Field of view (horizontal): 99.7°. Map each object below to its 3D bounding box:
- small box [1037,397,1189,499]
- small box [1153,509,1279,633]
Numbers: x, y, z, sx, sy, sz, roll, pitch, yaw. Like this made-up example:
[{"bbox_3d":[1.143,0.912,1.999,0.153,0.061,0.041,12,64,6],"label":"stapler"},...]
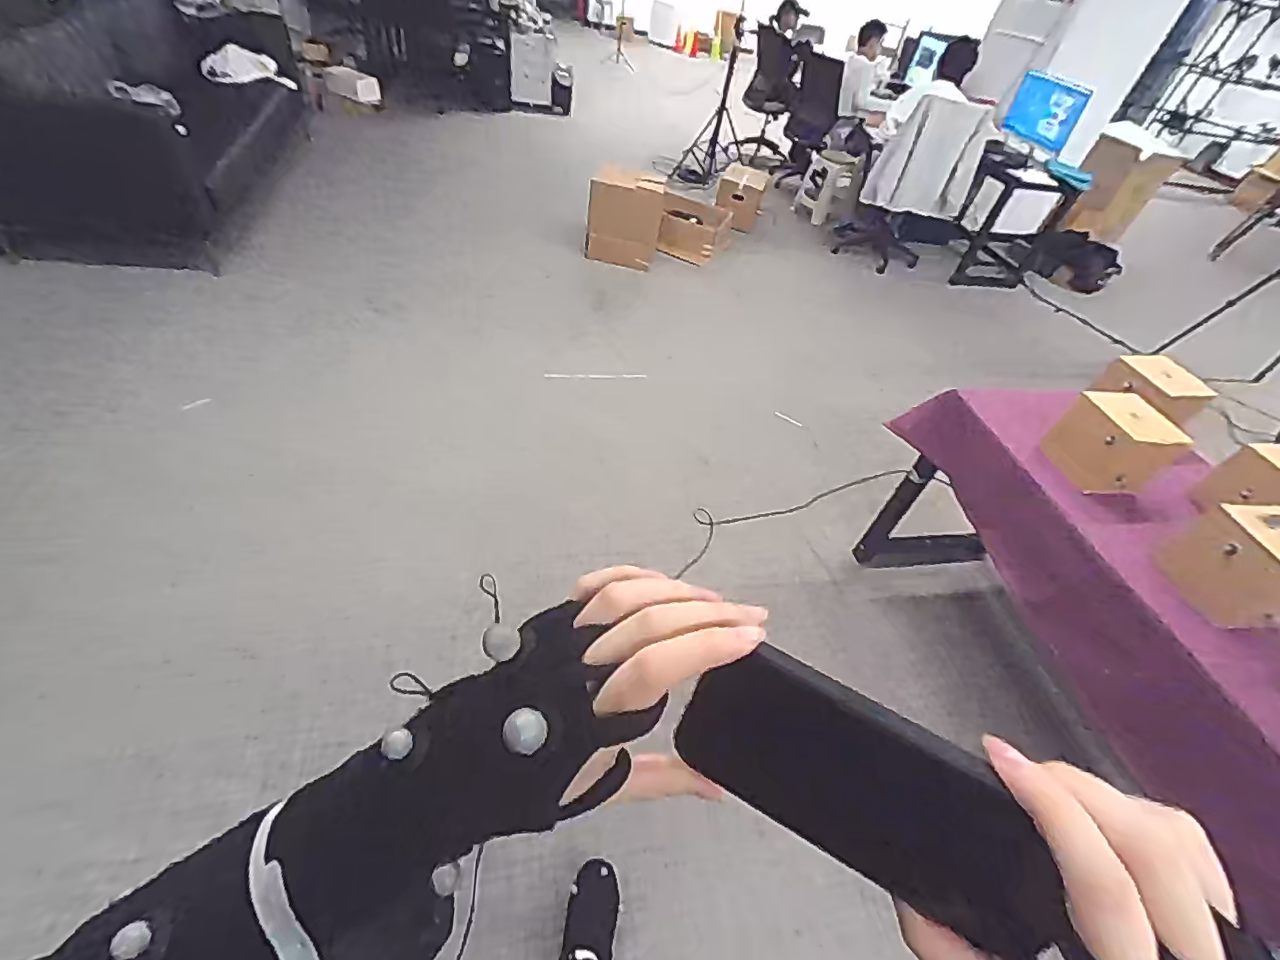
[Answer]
[{"bbox_3d":[1.105,-0.076,1.284,0.168,0.176,0.179,0,47,-12],"label":"small box"},{"bbox_3d":[1.178,0.177,1.050,0.168,0.176,0.179,1,47,-11],"label":"small box"}]
